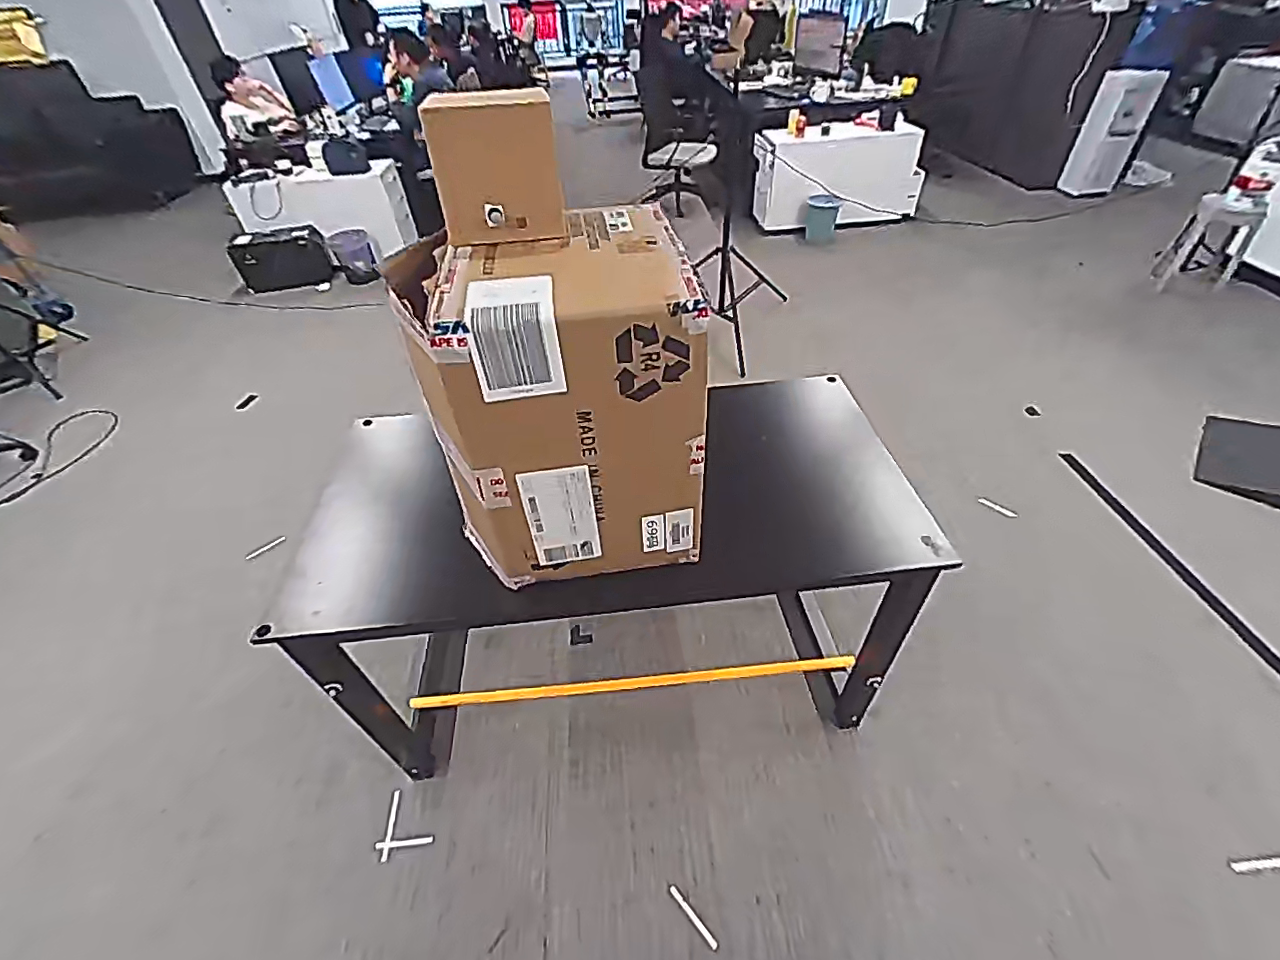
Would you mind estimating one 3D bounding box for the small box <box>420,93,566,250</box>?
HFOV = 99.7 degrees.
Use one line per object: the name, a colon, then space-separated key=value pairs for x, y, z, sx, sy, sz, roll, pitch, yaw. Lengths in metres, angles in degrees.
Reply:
small box: x=-0.206 y=-0.452 z=0.792 sx=0.168 sy=0.176 sz=0.179 roll=-10 pitch=42 yaw=-7
